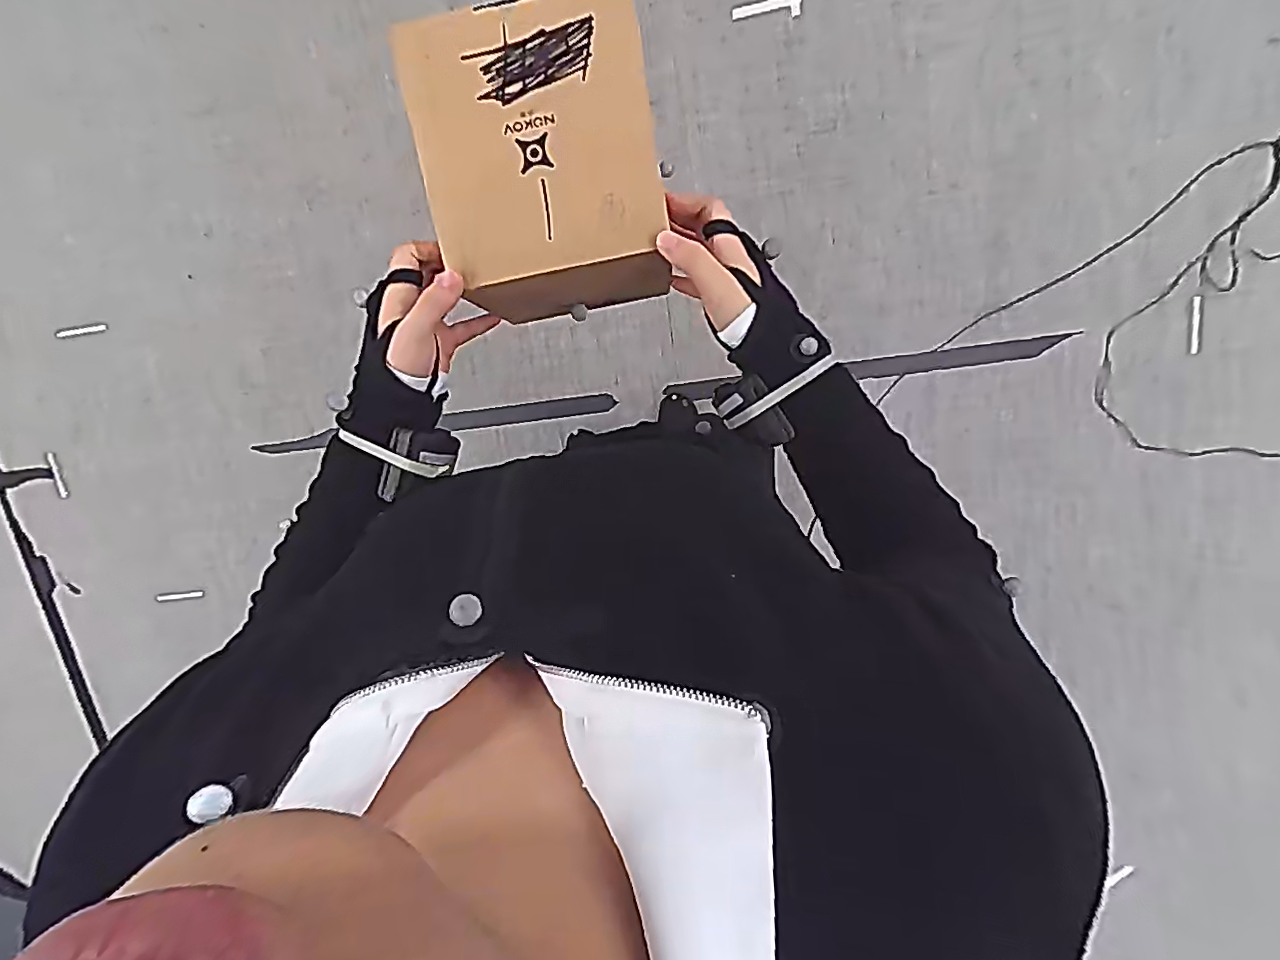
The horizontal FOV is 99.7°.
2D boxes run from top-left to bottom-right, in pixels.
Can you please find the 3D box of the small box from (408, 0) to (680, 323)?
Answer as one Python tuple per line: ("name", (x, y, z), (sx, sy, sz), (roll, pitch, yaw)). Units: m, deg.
("small box", (-0.063, -0.245, 0.455), (0.168, 0.176, 0.179), (-10, 98, 4))
